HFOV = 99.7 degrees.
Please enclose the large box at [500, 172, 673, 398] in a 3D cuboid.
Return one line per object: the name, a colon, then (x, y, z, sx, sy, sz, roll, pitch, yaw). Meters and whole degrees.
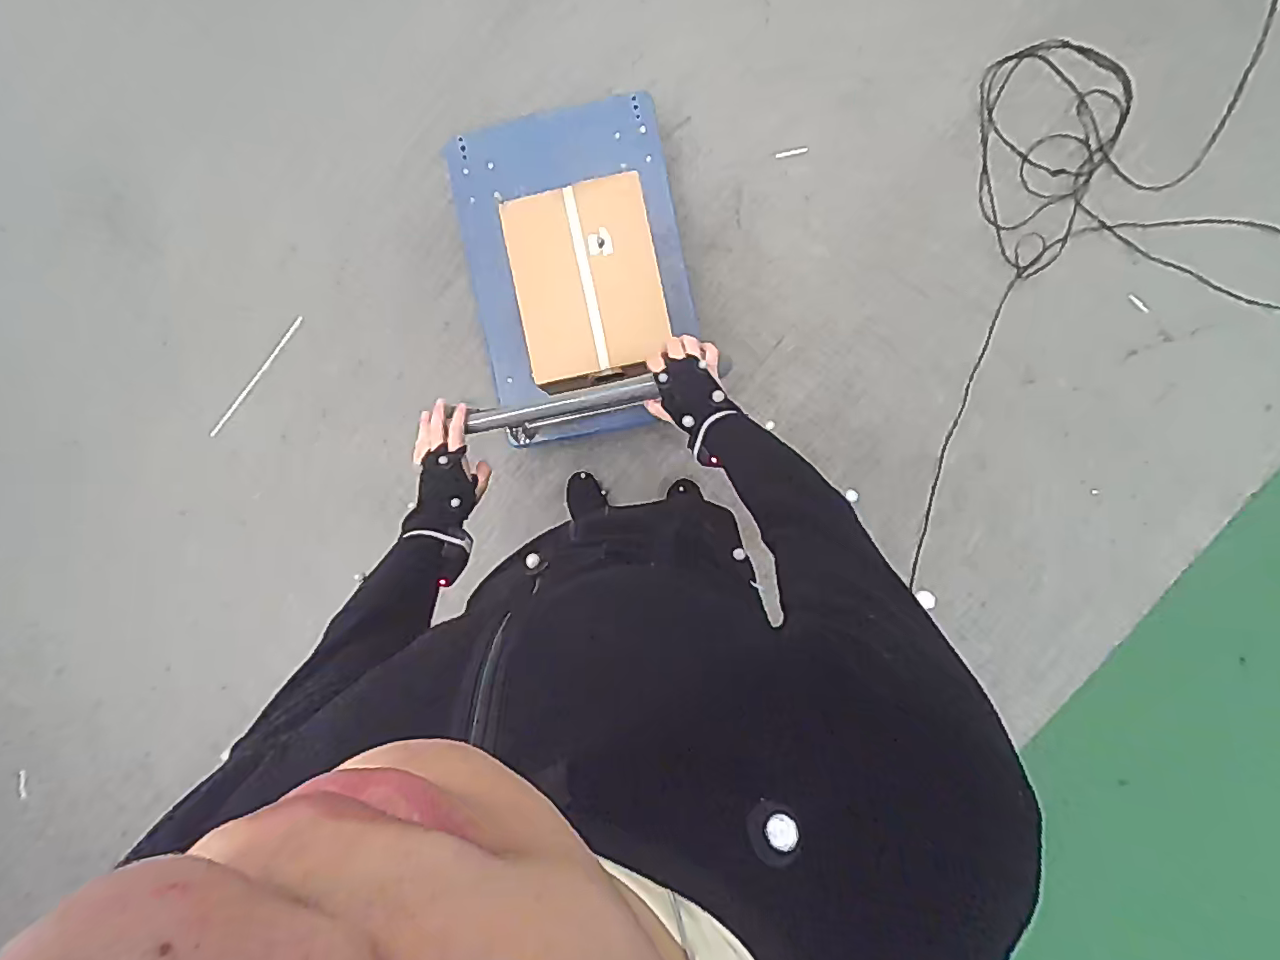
large box: (-0.109, -0.444, 1.325, 0.320, 0.320, 0.408, -11, 90, 2)
